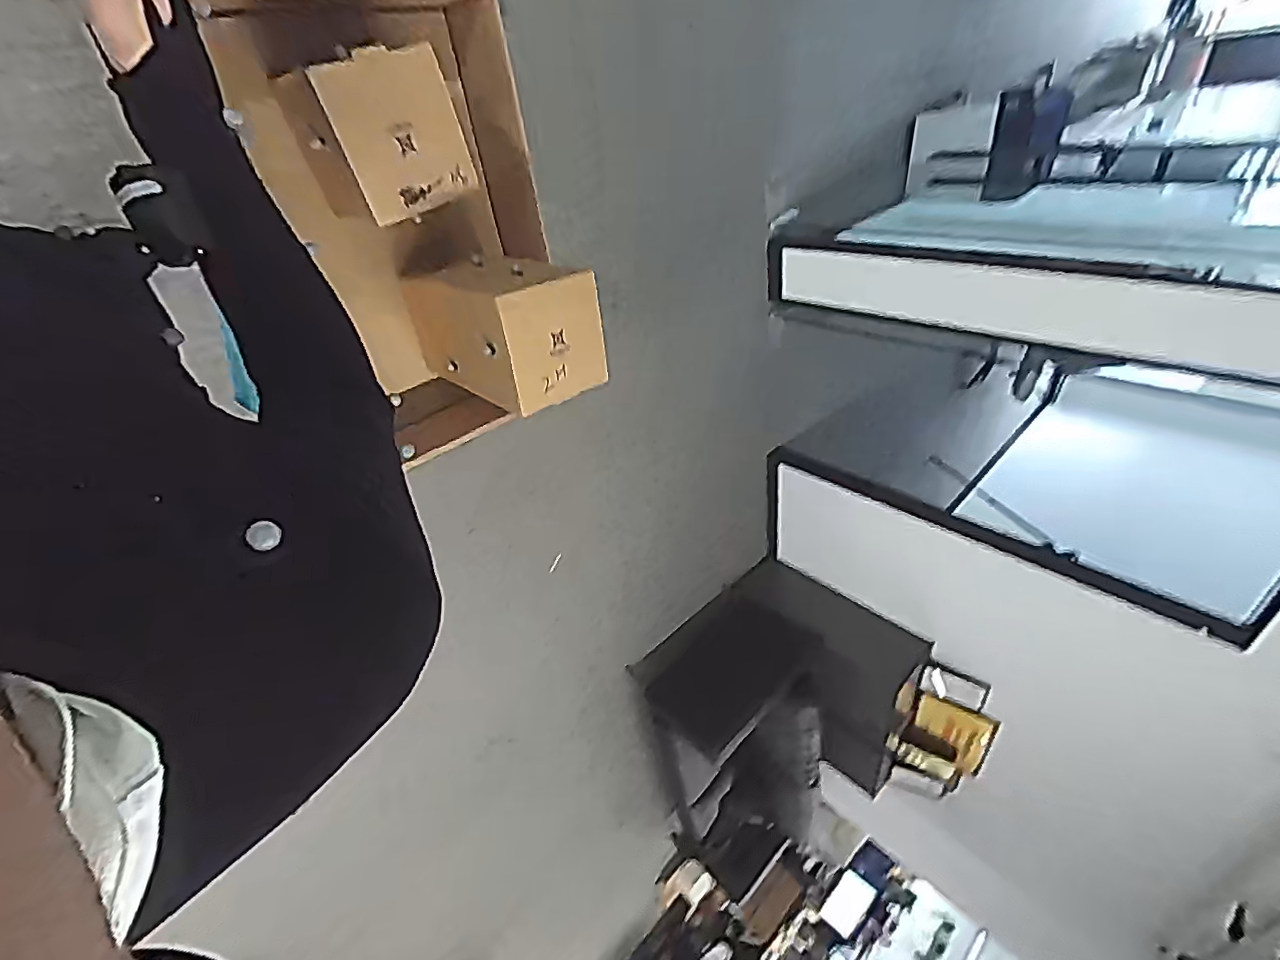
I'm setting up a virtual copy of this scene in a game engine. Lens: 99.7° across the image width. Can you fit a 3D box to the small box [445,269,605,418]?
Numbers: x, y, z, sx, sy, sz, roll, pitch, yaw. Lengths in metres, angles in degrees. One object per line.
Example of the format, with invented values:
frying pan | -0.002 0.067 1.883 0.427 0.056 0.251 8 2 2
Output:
small box | -0.177 -0.221 0.835 0.168 0.176 0.179 -29 130 -33
